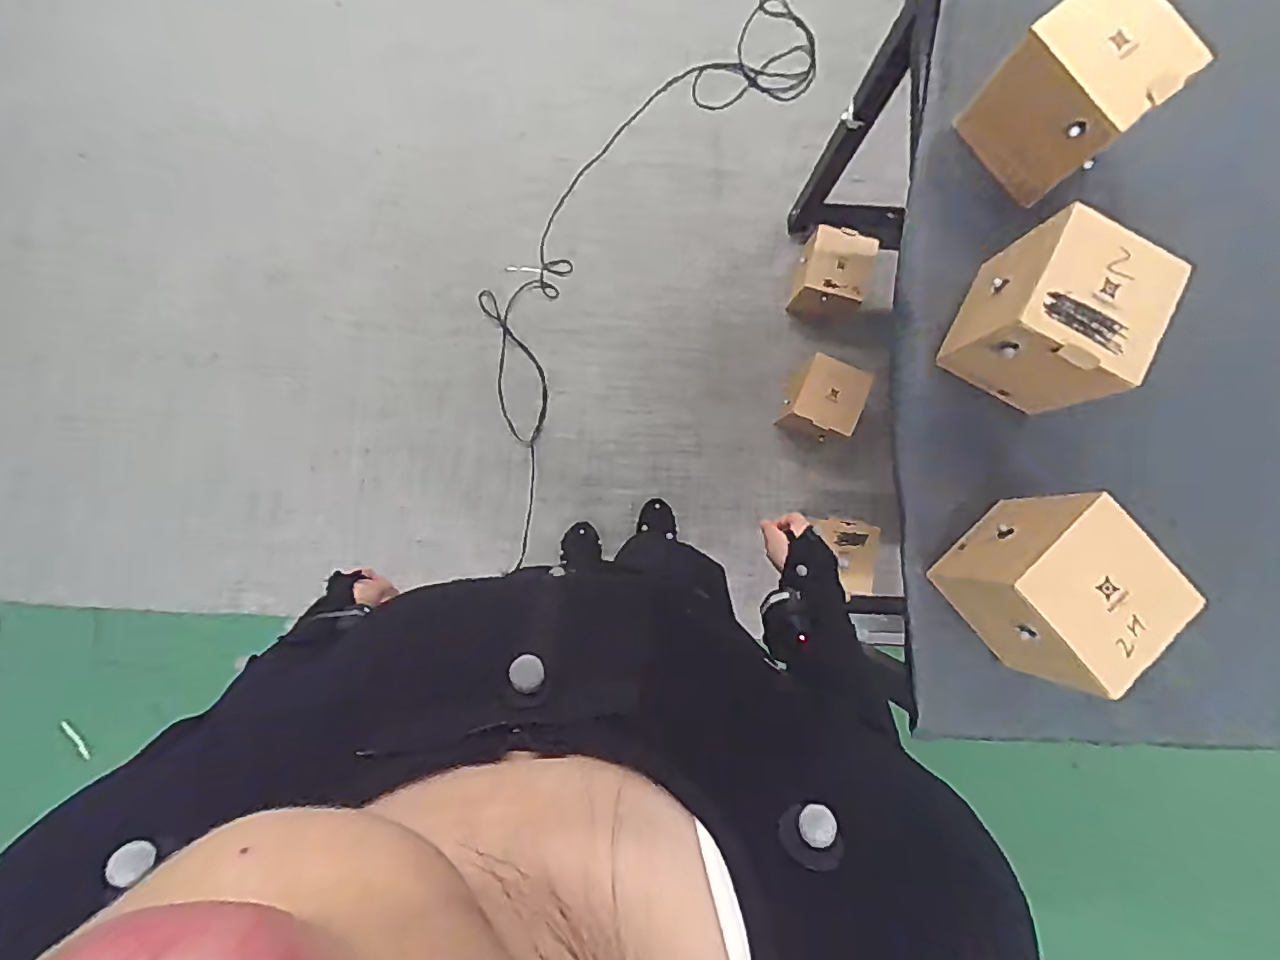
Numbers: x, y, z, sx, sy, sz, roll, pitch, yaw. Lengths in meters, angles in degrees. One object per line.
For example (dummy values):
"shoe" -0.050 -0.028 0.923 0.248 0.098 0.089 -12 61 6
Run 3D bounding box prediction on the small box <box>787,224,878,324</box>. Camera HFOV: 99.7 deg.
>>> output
"small box" 0.516 -0.553 1.474 0.168 0.176 0.179 15 85 -1

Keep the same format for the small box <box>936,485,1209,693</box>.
"small box" 0.527 0.131 0.688 0.168 0.176 0.179 -41 89 -7

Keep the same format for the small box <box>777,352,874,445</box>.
"small box" 0.486 -0.208 1.447 0.168 0.176 0.179 23 84 -1

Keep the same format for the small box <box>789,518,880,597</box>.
"small box" 0.502 0.197 1.417 0.168 0.176 0.179 8 87 -1

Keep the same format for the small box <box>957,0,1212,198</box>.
"small box" 0.590 -0.539 0.745 0.168 0.176 0.179 -39 88 -4
